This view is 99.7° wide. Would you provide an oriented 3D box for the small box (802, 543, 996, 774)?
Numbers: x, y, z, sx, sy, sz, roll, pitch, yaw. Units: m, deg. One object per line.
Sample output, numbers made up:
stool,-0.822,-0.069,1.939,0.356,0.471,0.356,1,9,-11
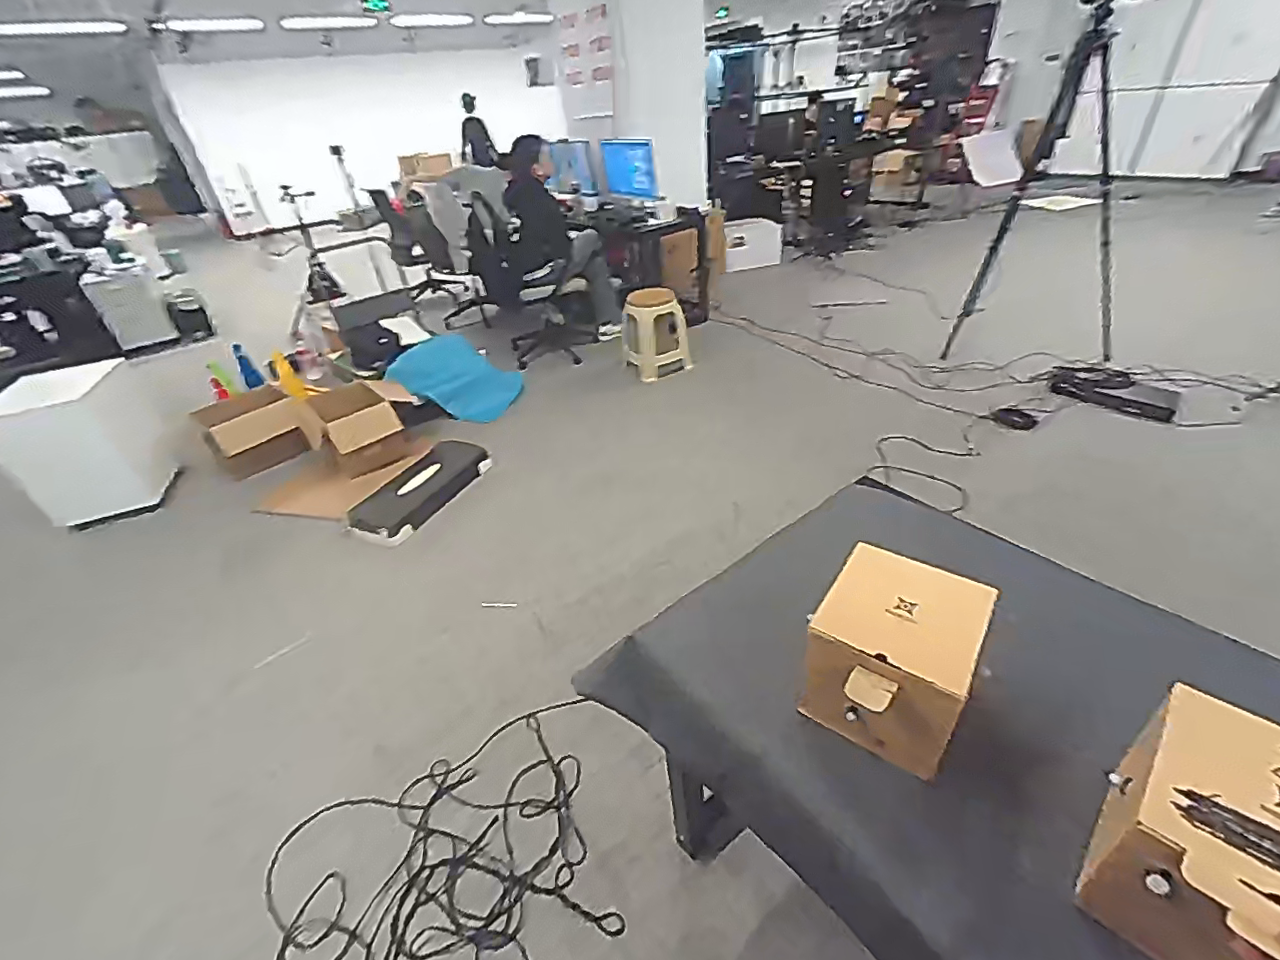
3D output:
small box,0.315,0.216,0.678,0.168,0.176,0.179,20,43,32
